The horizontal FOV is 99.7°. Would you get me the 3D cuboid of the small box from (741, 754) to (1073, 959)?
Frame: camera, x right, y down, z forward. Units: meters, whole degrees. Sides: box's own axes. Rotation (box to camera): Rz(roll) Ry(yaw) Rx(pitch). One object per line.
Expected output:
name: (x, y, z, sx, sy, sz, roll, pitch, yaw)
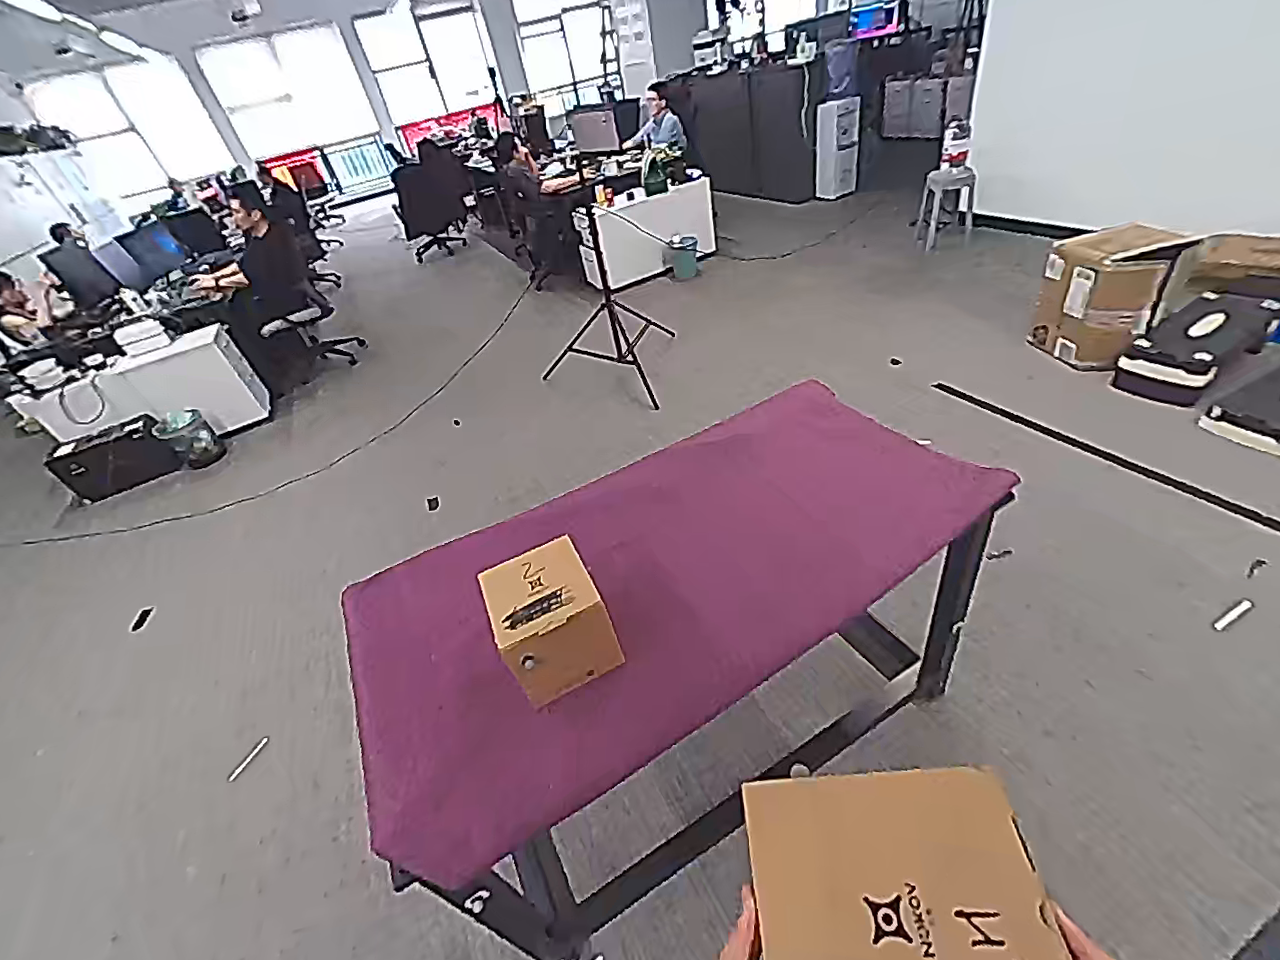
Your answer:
small box: (0.177, 0.315, 0.393, 0.179, 0.176, 0.168, -8, 48, 8)
